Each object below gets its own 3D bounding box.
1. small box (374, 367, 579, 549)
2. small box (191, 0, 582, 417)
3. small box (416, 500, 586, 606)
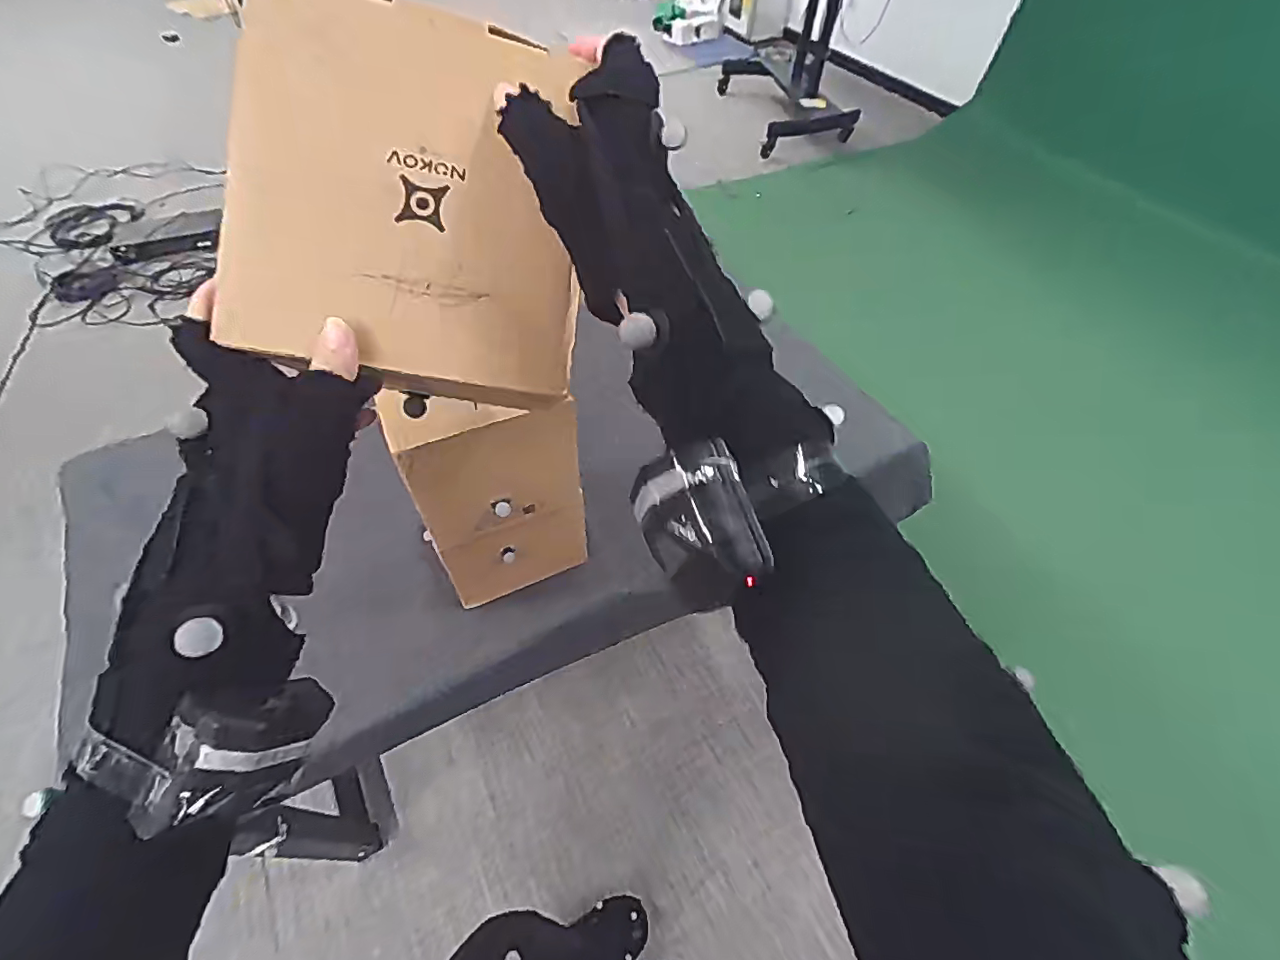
[{"bbox_3d":[-0.177,-0.059,0.582,0.168,0.176,0.179,-23,56,-18],"label":"small box"},{"bbox_3d":[-0.136,-0.140,0.342,0.168,0.176,0.179,5,92,-13],"label":"small box"},{"bbox_3d":[-0.184,0.039,0.714,0.179,0.176,0.168,-21,56,-16],"label":"small box"}]
